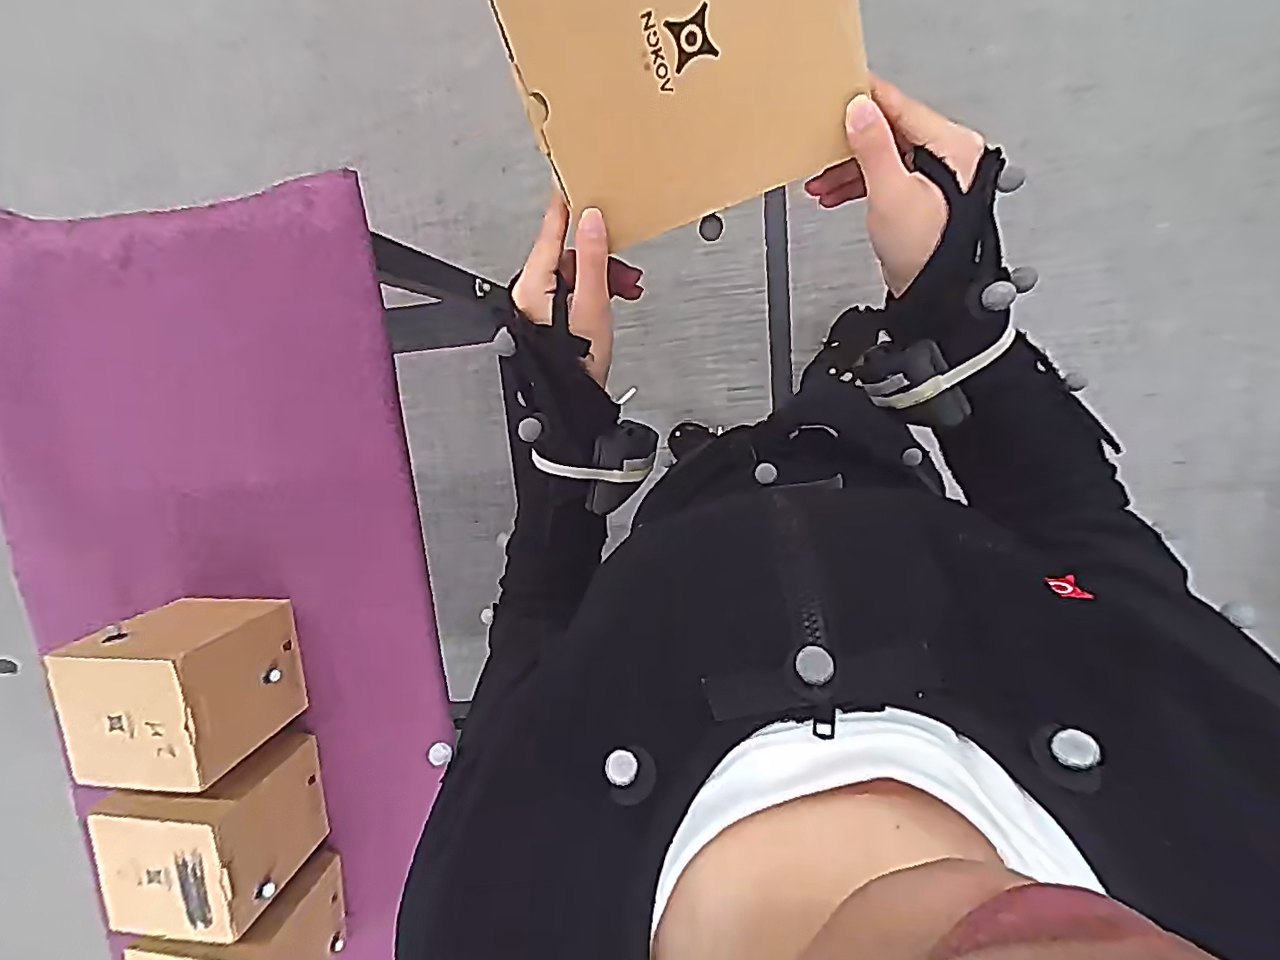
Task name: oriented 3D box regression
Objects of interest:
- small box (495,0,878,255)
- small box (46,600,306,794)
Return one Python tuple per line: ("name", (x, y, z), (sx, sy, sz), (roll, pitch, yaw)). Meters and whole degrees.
("small box", (0.025, -0.265, 0.346), (0.179, 0.176, 0.168), (-17, 116, 11))
("small box", (-0.571, 0.262, 0.689), (0.179, 0.176, 0.168), (-1, 101, 8))
